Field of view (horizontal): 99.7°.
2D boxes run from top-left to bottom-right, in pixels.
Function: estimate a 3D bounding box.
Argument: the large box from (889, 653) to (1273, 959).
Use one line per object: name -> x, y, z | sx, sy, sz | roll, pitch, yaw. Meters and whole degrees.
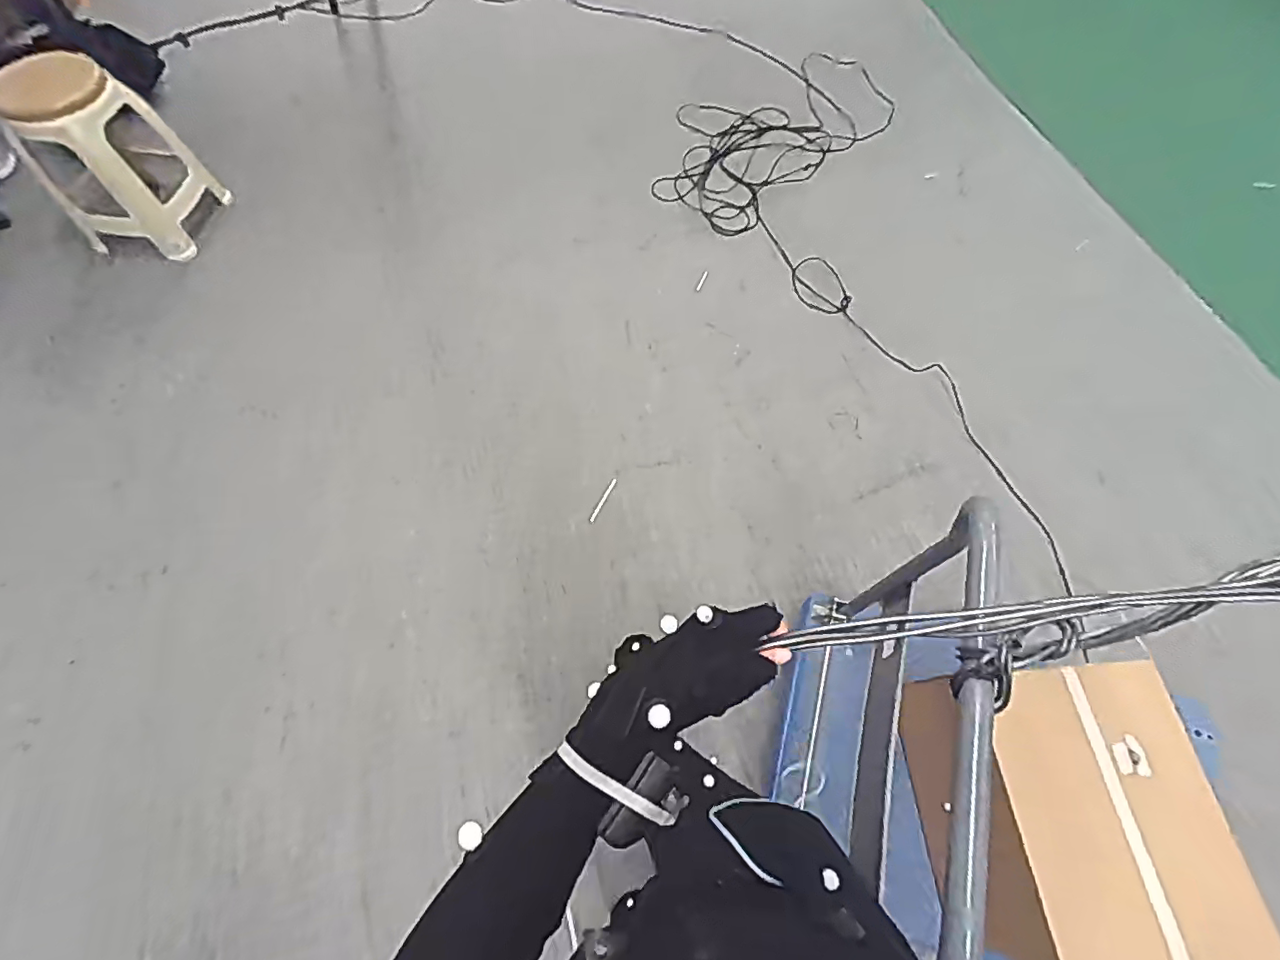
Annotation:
large box -> 0.697, 0.544, 0.948 | 0.320, 0.320, 0.408 | -3, 64, -3
